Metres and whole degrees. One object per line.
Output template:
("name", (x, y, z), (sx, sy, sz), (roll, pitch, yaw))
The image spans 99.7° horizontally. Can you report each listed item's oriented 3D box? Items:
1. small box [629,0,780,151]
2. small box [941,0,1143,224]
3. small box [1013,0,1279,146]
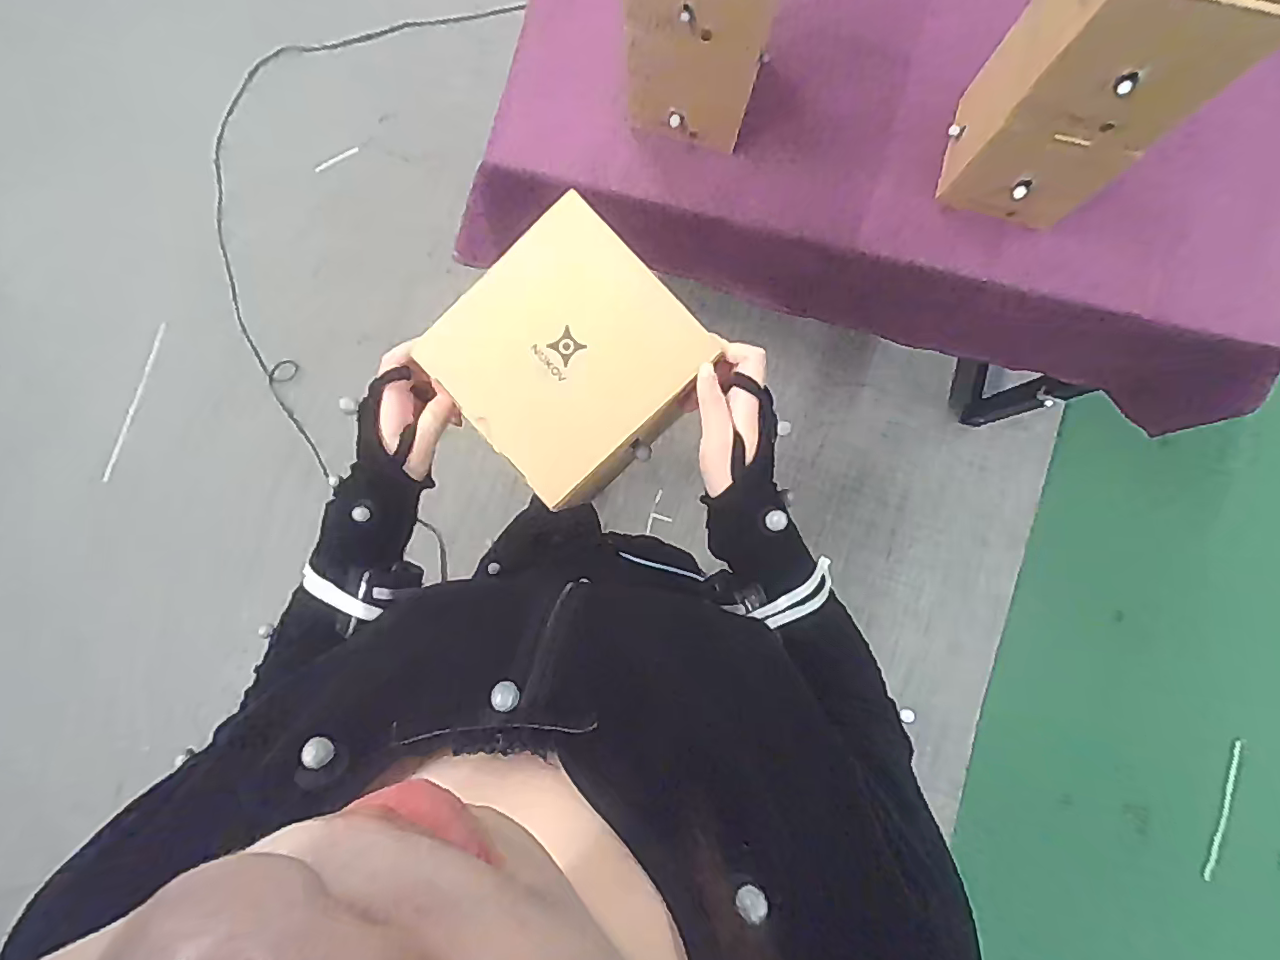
("small box", (0.088, -0.602, 0.741), (0.168, 0.176, 0.179), (17, 87, 2))
("small box", (0.537, -0.478, 0.724), (0.168, 0.176, 0.179), (16, 87, 2))
("small box", (0.531, -0.491, 0.559), (0.168, 0.176, 0.179), (16, 86, 2))
